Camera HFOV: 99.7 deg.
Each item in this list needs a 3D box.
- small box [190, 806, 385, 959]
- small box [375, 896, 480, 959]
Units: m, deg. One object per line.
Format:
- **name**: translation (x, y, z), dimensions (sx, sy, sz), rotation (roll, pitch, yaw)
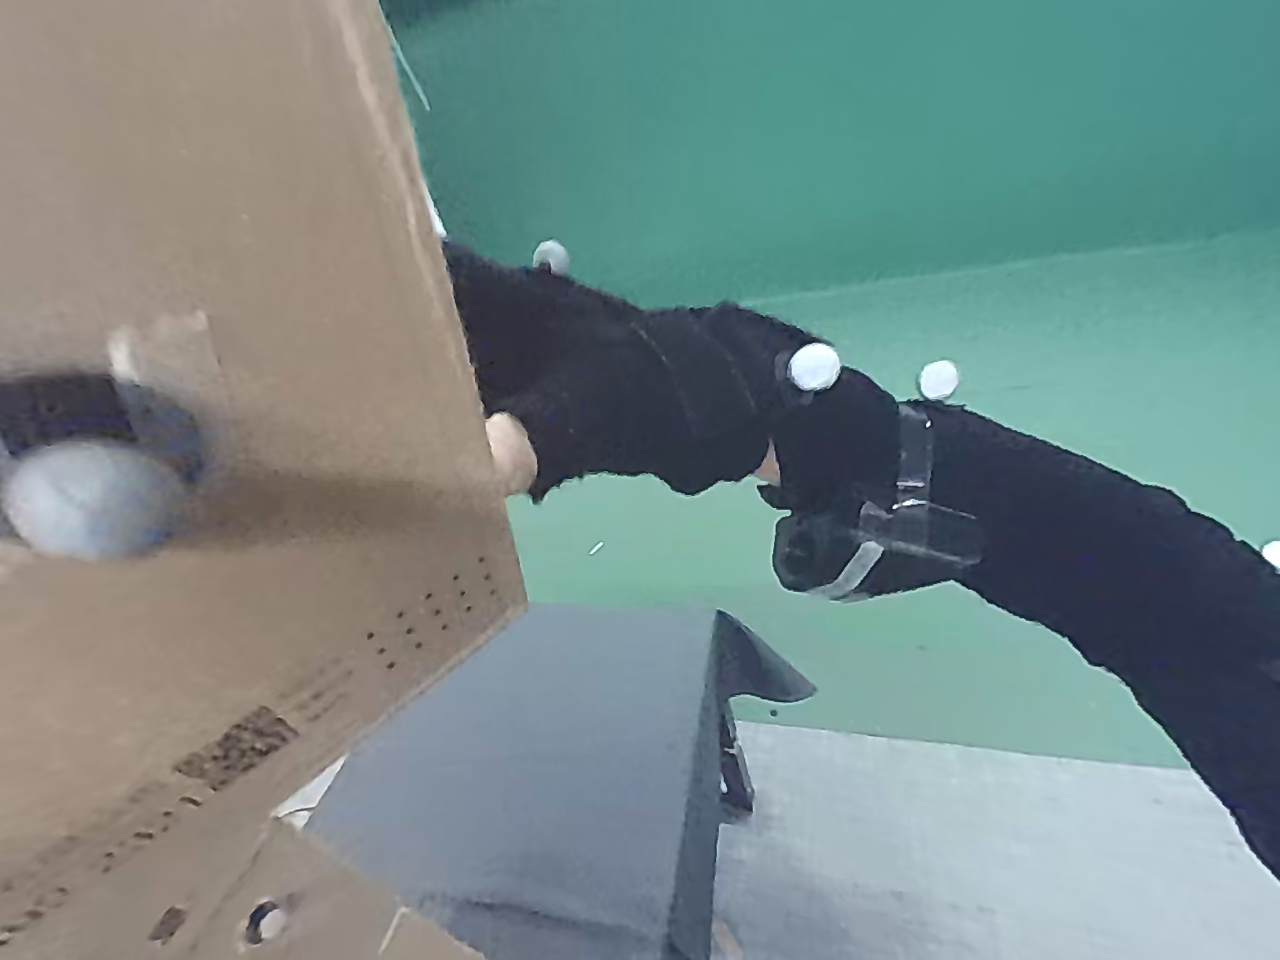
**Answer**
- **small box**: translation (-0.308, 0.337, 0.364), dimensions (0.168, 0.176, 0.179), rotation (-2, 38, 21)
- **small box**: translation (-0.270, 0.466, 0.458), dimensions (0.179, 0.176, 0.168), rotation (-3, 38, 19)
